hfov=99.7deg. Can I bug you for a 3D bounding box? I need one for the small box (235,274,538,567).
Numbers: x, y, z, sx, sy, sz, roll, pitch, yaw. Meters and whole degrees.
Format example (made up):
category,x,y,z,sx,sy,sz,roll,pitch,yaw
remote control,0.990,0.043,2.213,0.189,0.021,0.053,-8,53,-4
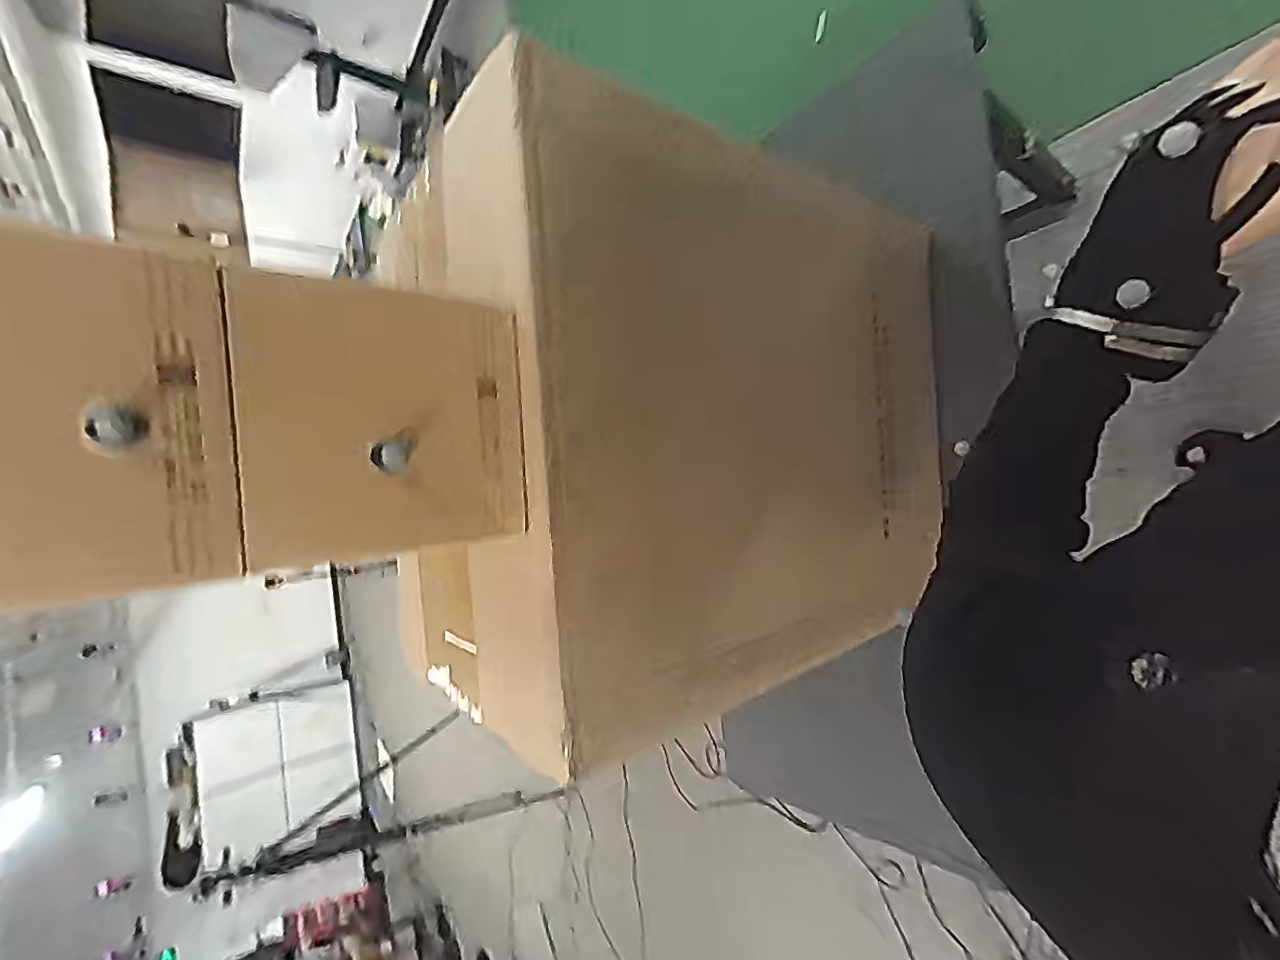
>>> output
category,x,y,z,sx,sy,sz,roll,pitch,yaw
small box,-0.186,-0.038,0.408,0.179,0.176,0.168,-2,93,50
